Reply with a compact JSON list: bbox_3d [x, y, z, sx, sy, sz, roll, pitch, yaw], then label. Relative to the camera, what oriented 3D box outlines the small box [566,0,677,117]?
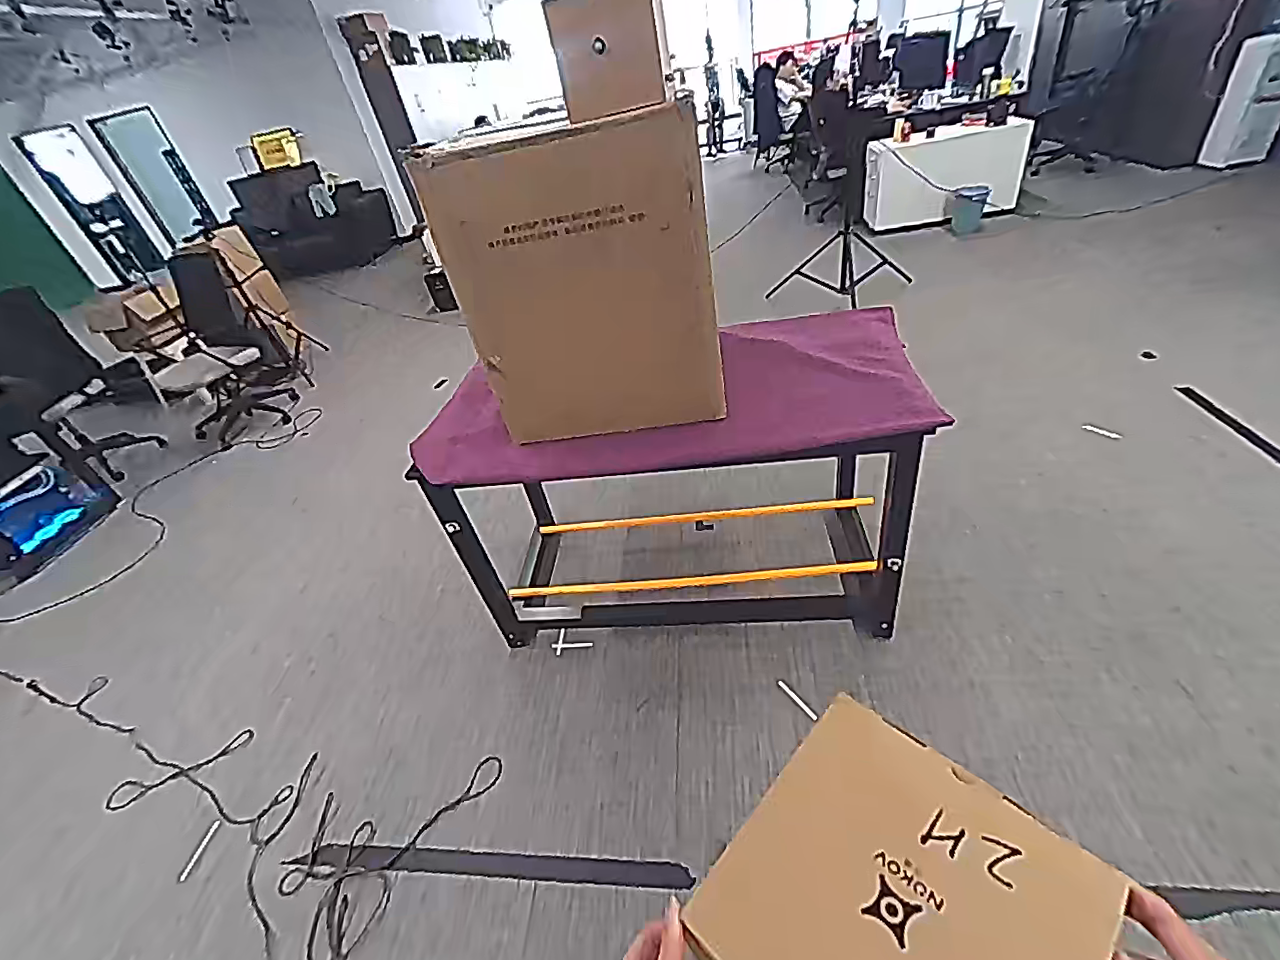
[{"bbox_3d":[-0.028,-0.837,1.071,0.179,0.176,0.168,-6,37,9],"label":"small box"}]
